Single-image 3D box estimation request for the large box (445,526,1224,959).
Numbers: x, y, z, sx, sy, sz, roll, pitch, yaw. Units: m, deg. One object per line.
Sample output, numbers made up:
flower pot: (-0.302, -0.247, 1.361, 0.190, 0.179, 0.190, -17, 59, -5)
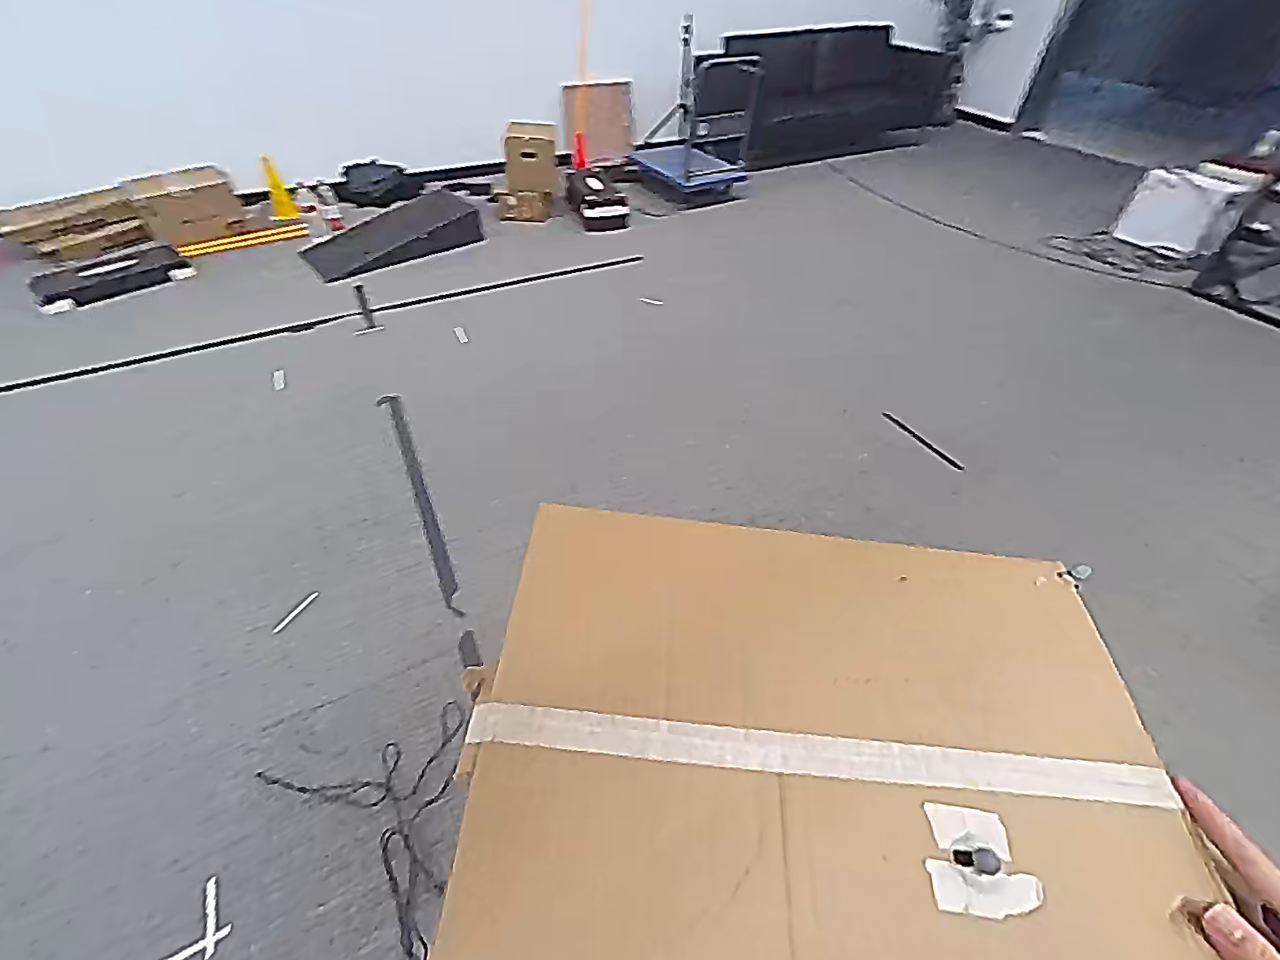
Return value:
large box: (0.092, 0.263, 0.437, 0.408, 0.320, 0.320, 6, 51, -3)
